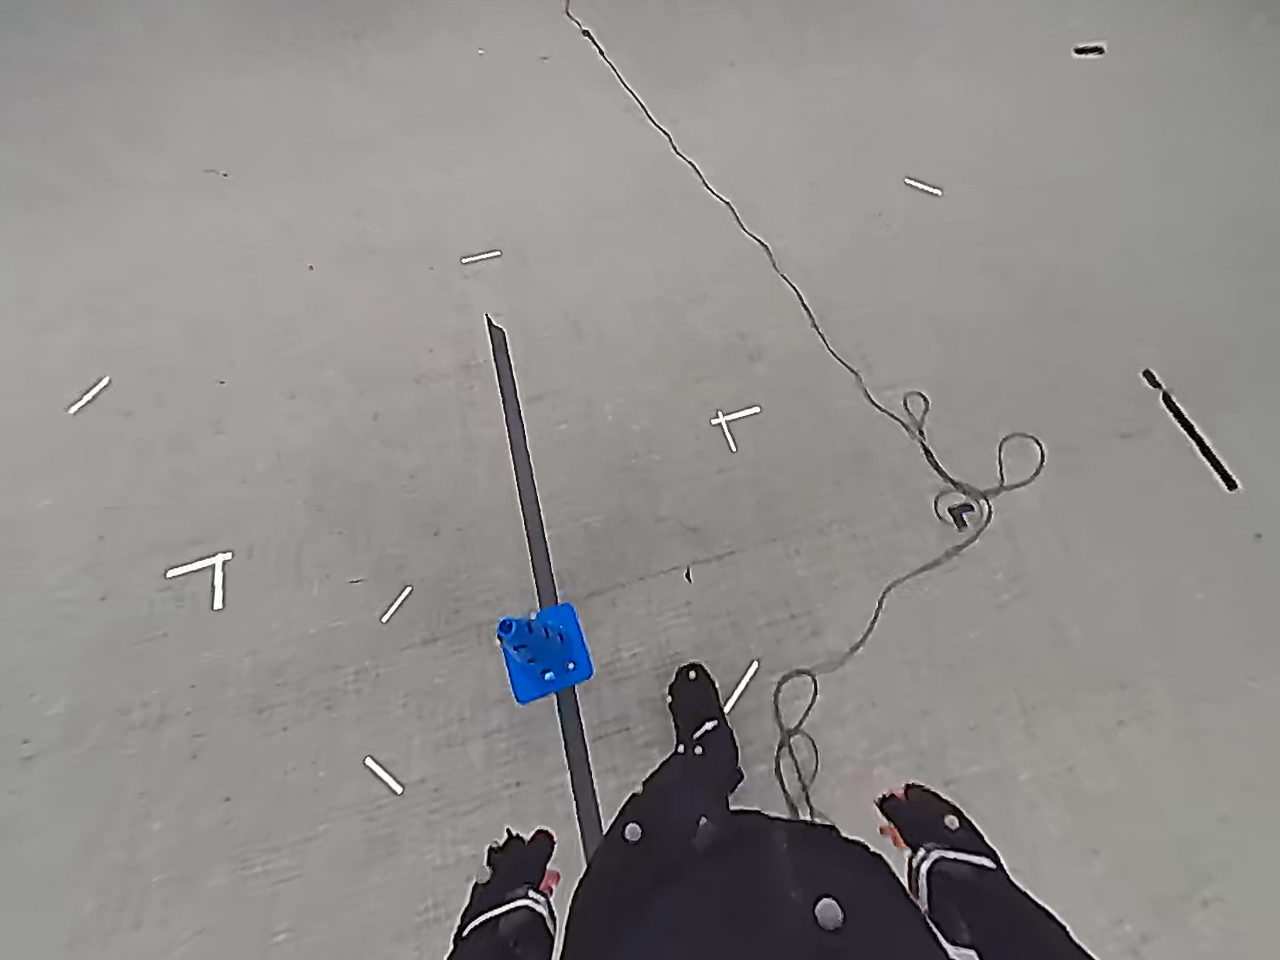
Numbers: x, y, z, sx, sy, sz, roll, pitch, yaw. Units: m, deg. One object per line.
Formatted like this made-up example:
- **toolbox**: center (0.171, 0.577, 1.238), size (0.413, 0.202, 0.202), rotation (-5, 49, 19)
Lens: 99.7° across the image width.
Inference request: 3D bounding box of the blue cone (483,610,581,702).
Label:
- **blue cone**: center (-0.261, 0.364, 1.195), size (0.192, 0.380, 0.193), rotation (-18, 65, -5)
